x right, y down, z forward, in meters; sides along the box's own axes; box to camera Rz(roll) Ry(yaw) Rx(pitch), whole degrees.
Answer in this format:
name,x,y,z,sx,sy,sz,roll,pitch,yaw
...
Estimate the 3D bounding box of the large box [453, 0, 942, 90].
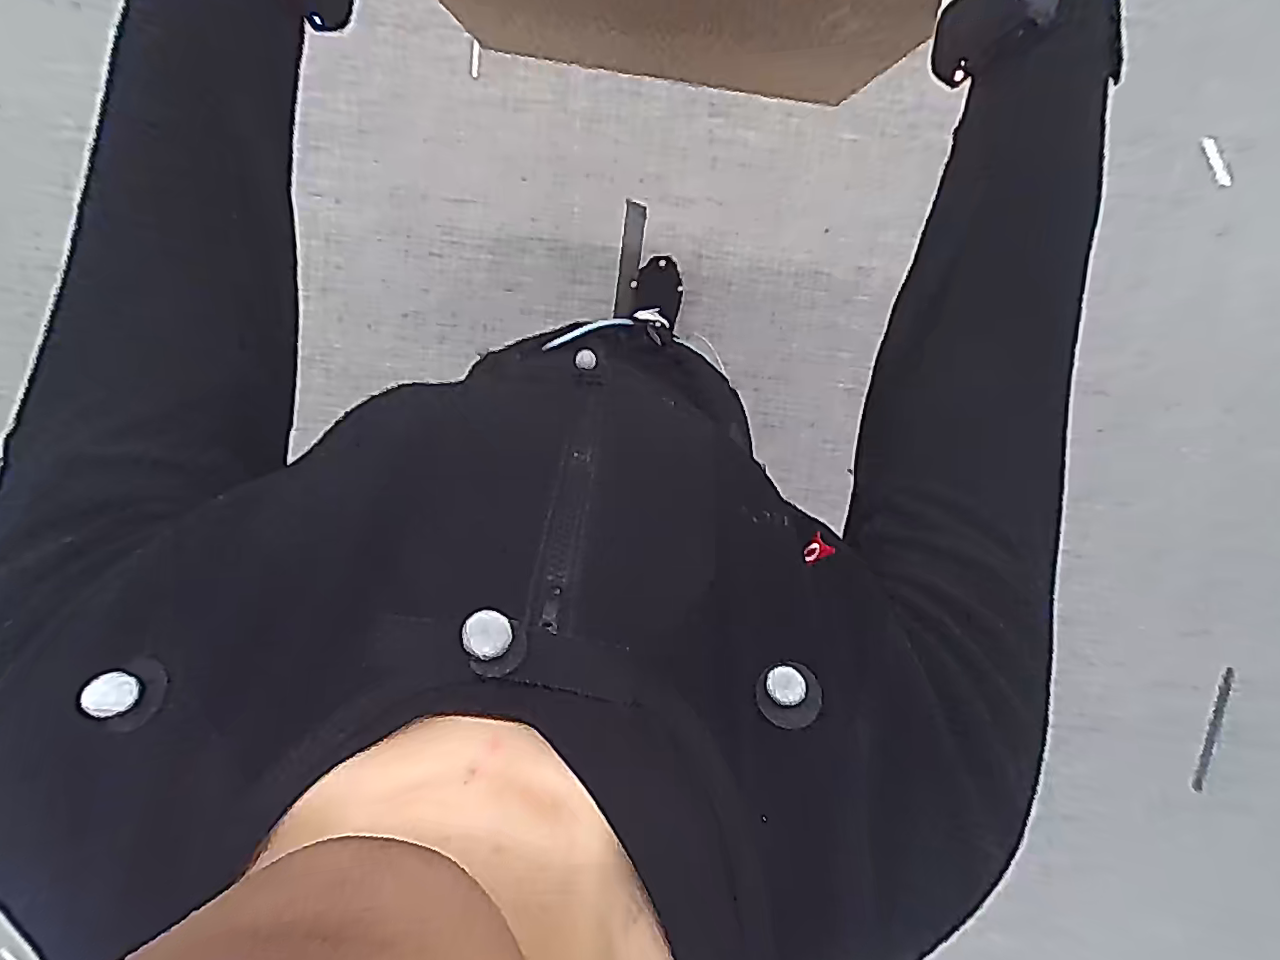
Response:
name,x,y,z,sx,sy,sz,roll,pitch,yaw
large box,0.040,-0.537,0.410,0.408,0.320,0.320,7,115,-2
